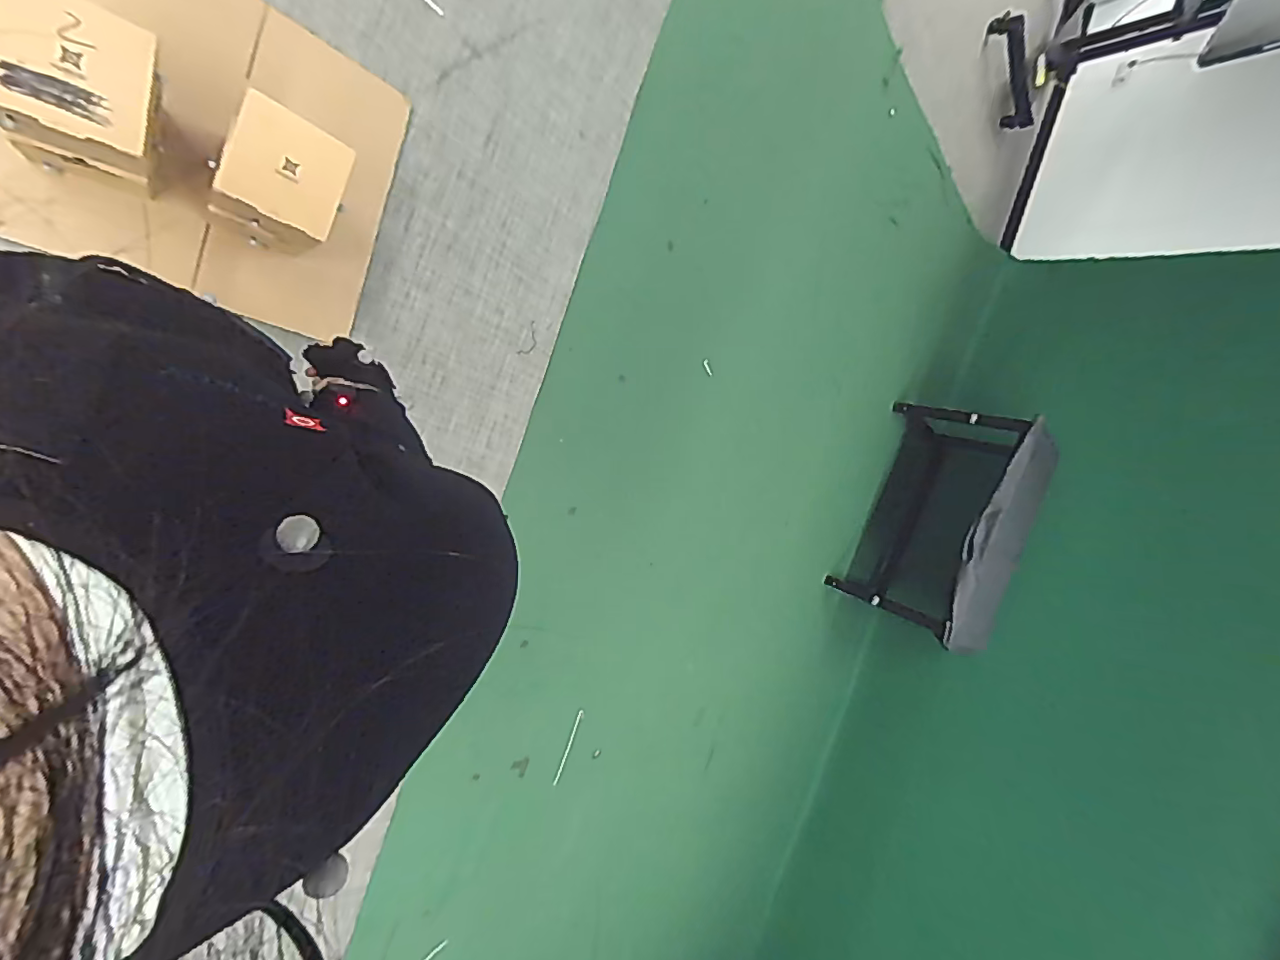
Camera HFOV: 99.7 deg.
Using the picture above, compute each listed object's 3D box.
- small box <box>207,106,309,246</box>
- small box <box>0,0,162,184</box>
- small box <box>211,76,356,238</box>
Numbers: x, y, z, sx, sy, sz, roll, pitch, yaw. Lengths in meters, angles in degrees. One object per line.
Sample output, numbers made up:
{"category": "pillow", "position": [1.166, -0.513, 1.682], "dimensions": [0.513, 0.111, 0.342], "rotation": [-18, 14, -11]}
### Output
{"category": "small box", "position": [-0.745, -0.591, 1.080], "dimensions": [0.168, 0.176, 0.179], "rotation": [15, 95, -41]}
{"category": "small box", "position": [-0.923, -0.626, 0.907], "dimensions": [0.168, 0.176, 0.179], "rotation": [9, 98, -42]}
{"category": "small box", "position": [-0.638, -0.558, 0.962], "dimensions": [0.168, 0.176, 0.179], "rotation": [19, 92, -43]}
